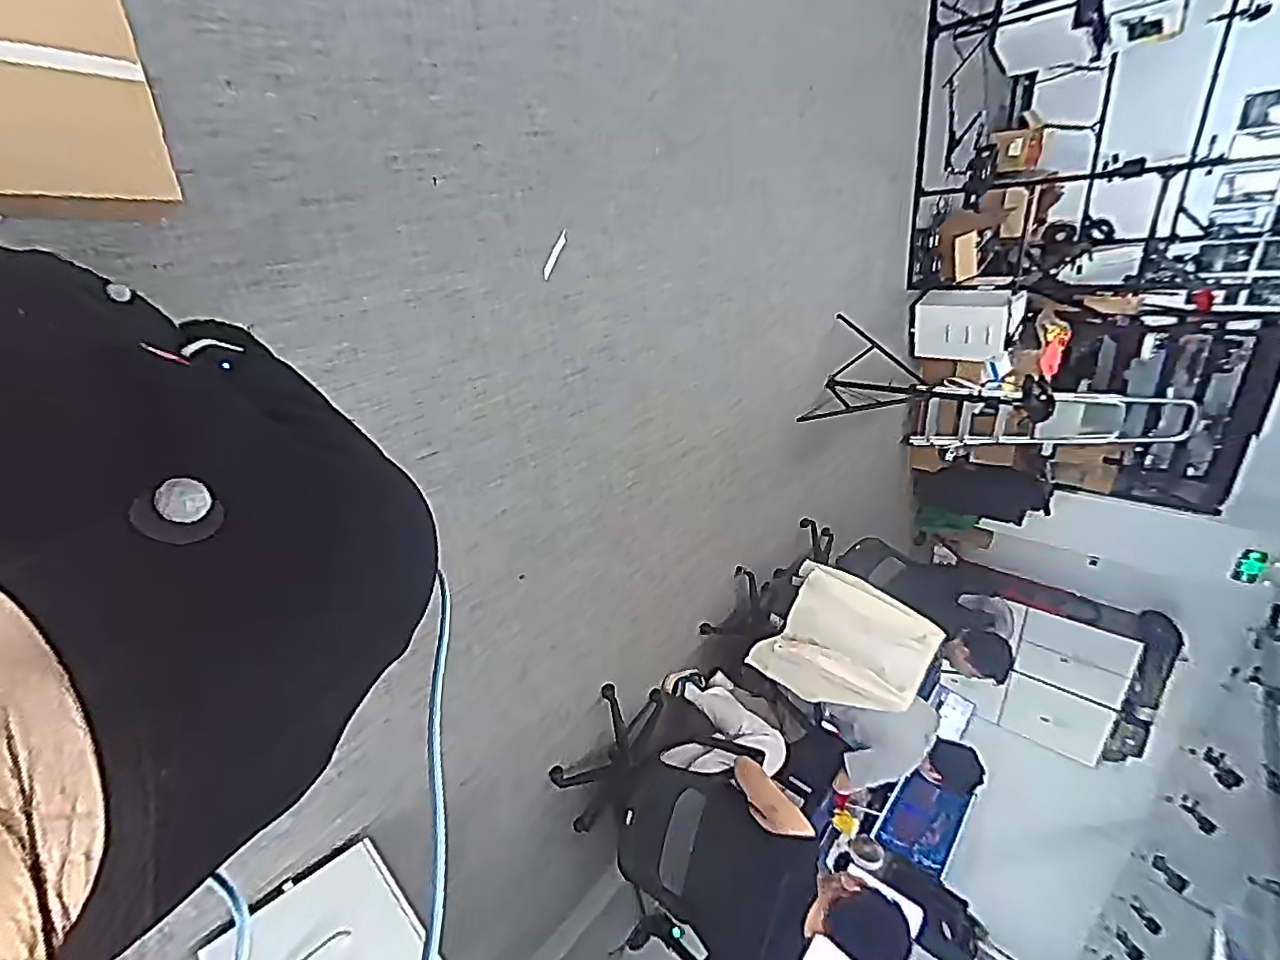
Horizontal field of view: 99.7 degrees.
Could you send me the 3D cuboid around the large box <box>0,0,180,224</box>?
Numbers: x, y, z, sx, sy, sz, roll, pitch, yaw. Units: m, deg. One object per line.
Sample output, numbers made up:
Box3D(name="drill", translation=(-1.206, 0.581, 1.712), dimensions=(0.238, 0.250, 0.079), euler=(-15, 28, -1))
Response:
Box3D(name="large box", translation=(-0.938, -0.523, 0.717), dimensions=(0.408, 0.320, 0.320), euler=(-24, 120, -42))
